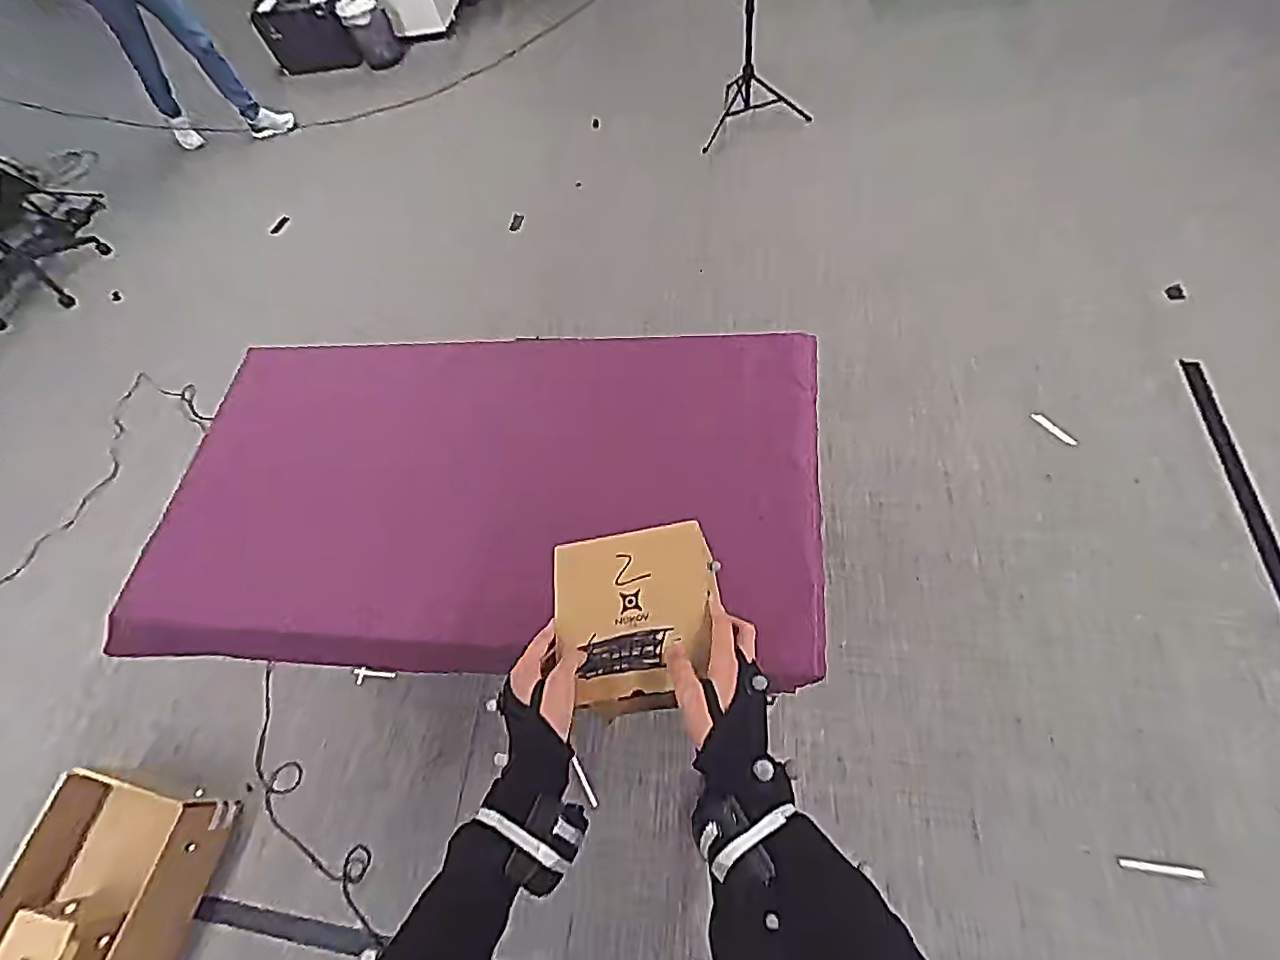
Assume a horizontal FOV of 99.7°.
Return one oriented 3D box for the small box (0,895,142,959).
[{"bbox_3d":[-1.347,1.101,1.269,0.179,0.176,0.168,3,62,11],"label":"small box"}]
